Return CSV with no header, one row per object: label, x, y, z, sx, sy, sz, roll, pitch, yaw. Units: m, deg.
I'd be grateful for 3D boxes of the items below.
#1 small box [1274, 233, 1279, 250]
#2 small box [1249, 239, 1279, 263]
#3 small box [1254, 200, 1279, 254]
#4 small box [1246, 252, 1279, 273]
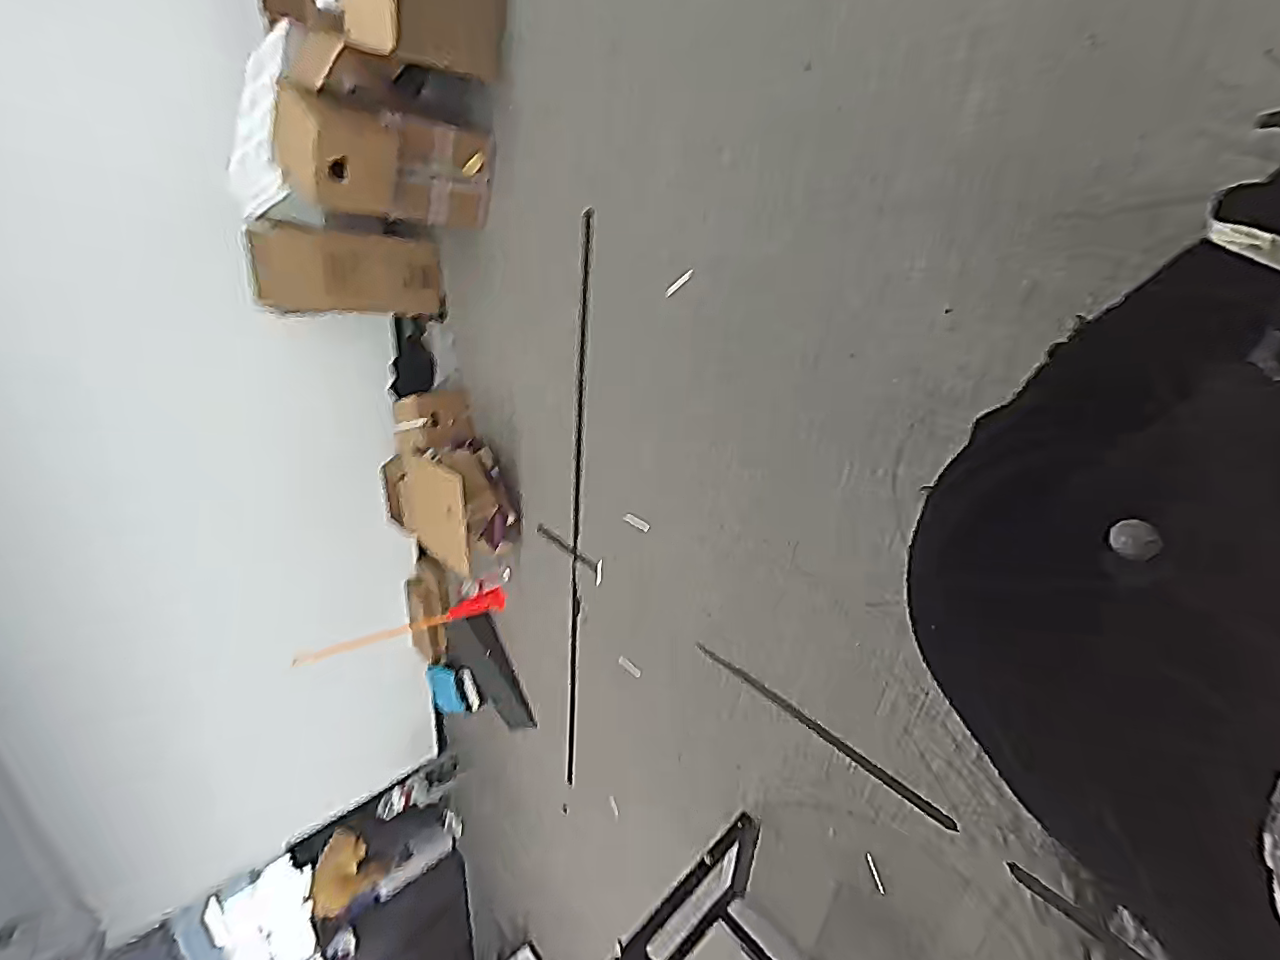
small box,0.767,-0.289,0.510,0.168,0.176,0.179,36,129,36
small box,0.995,-0.367,0.730,0.179,0.176,0.168,38,130,34
small box,0.878,-0.336,0.622,0.179,0.176,0.168,35,129,35
small box,1.114,-0.397,0.840,0.179,0.176,0.168,35,127,36
